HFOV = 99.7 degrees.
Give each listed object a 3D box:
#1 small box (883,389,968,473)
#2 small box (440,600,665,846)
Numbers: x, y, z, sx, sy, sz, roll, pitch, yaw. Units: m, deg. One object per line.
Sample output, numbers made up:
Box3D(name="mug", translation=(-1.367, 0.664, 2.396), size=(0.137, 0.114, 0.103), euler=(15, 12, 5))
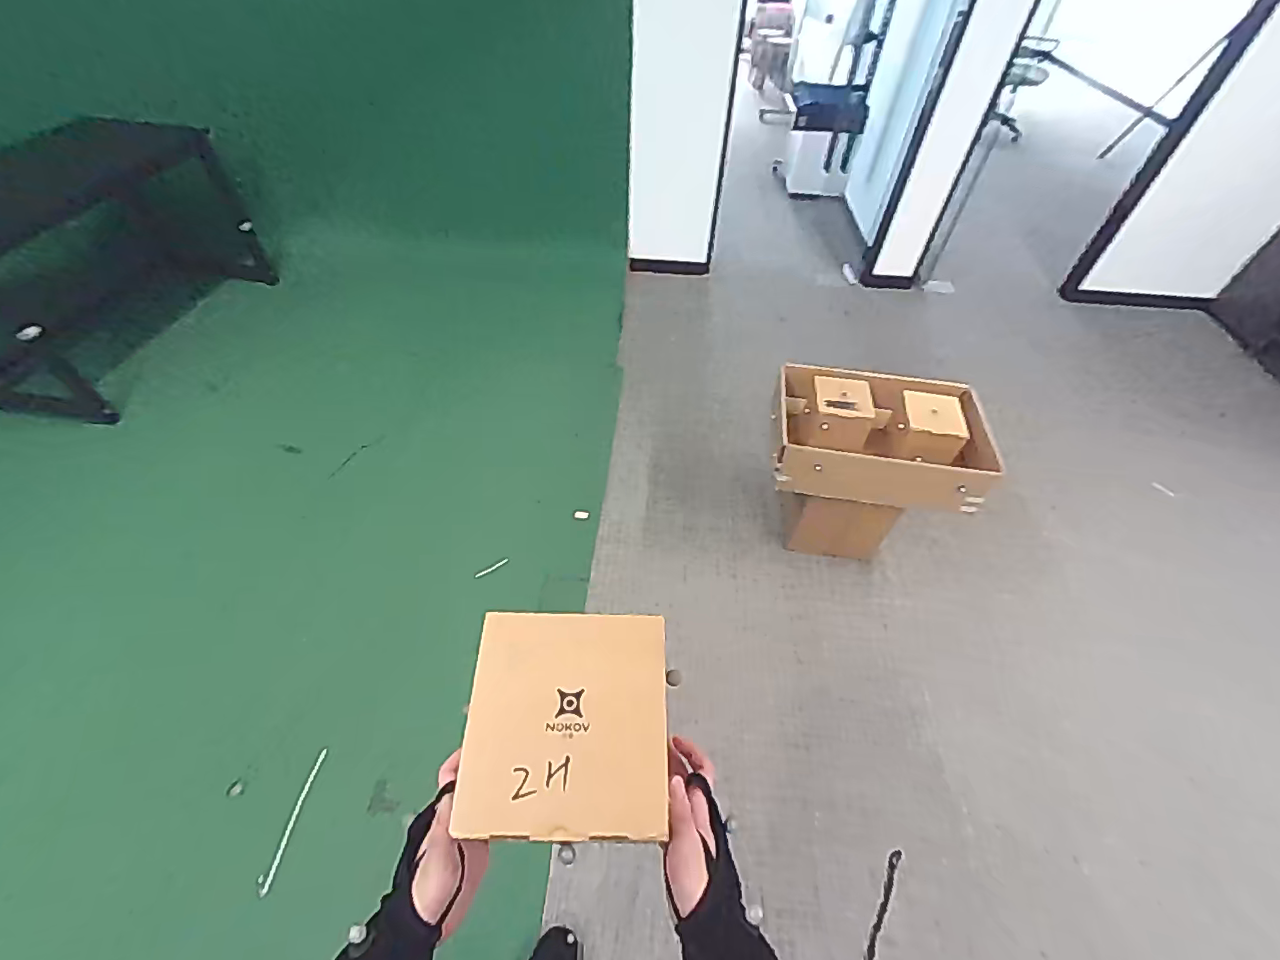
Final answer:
Box3D(name="small box", translation=(0.862, -0.150, 1.655), size=(0.168, 0.176, 0.179), euler=(9, 50, 5))
Box3D(name="small box", translation=(-0.065, 0.230, 0.506), size=(0.168, 0.176, 0.179), euler=(2, 54, 0))
